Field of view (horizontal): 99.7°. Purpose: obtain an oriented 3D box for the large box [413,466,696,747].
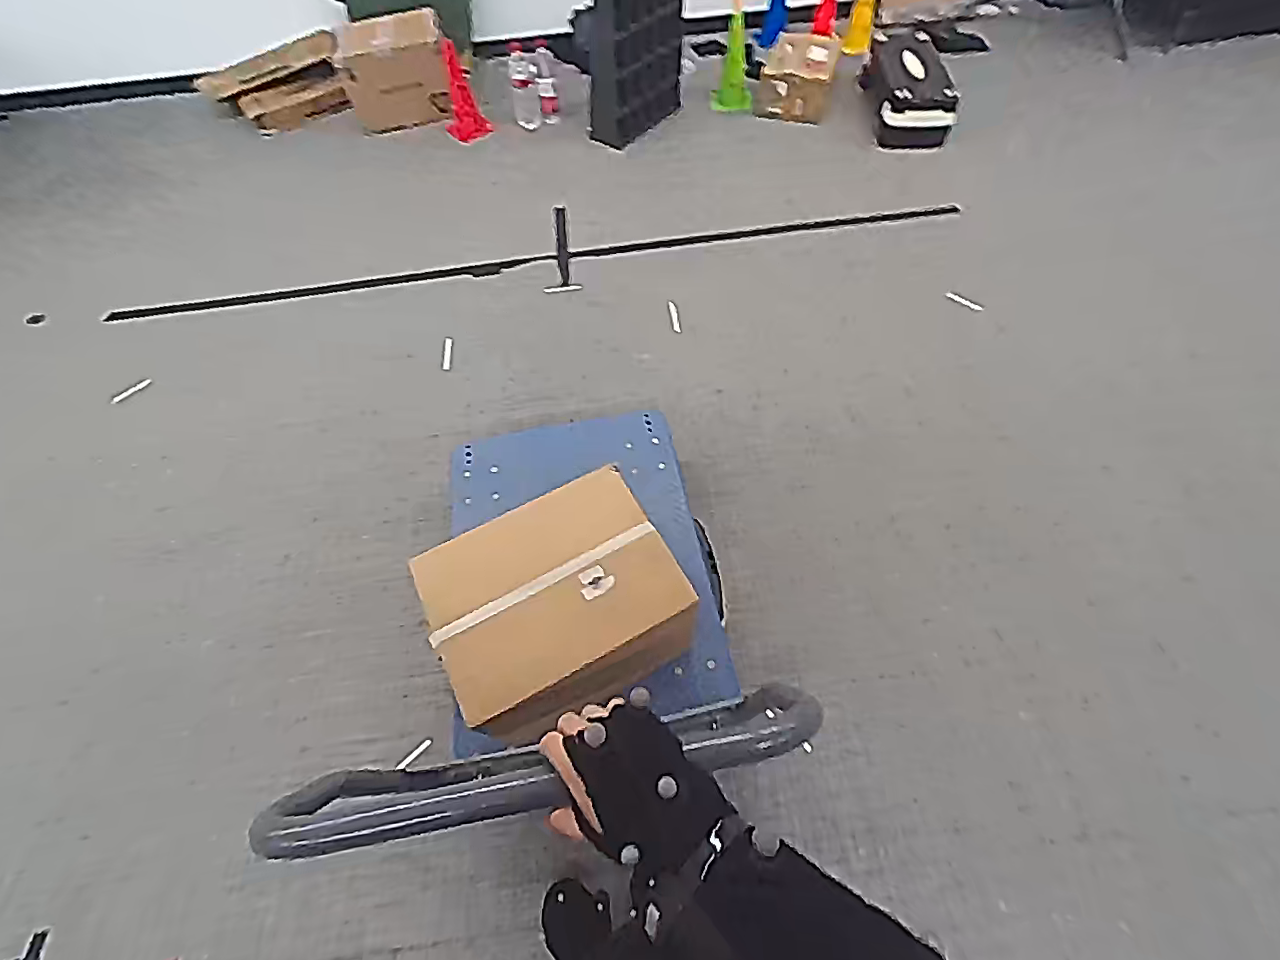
[{"bbox_3d":[-0.148,0.248,1.041,0.408,0.320,0.320,-26,62,-14],"label":"large box"}]
